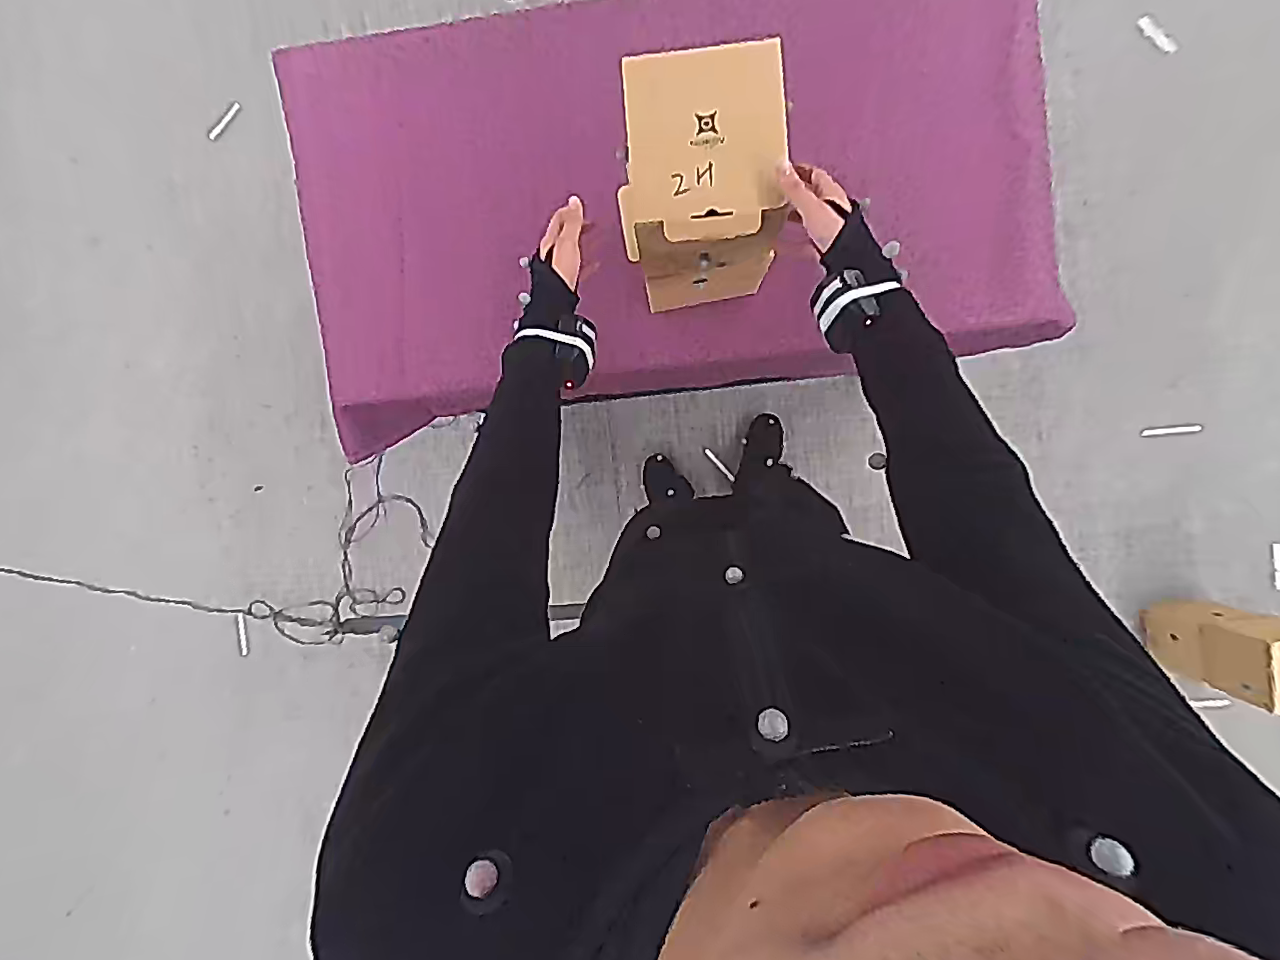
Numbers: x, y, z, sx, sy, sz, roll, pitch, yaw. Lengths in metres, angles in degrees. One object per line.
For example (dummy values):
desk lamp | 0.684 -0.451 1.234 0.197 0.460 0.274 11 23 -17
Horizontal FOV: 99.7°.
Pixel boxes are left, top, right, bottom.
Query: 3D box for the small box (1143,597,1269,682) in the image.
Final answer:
small box | 1.537 0.432 1.484 0.179 0.176 0.168 -10 93 4

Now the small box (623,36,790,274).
small box | 0.072 -0.363 0.634 0.168 0.176 0.179 -4 93 4

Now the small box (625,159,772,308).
small box | 0.083 -0.367 0.799 0.179 0.176 0.168 -10 92 3
